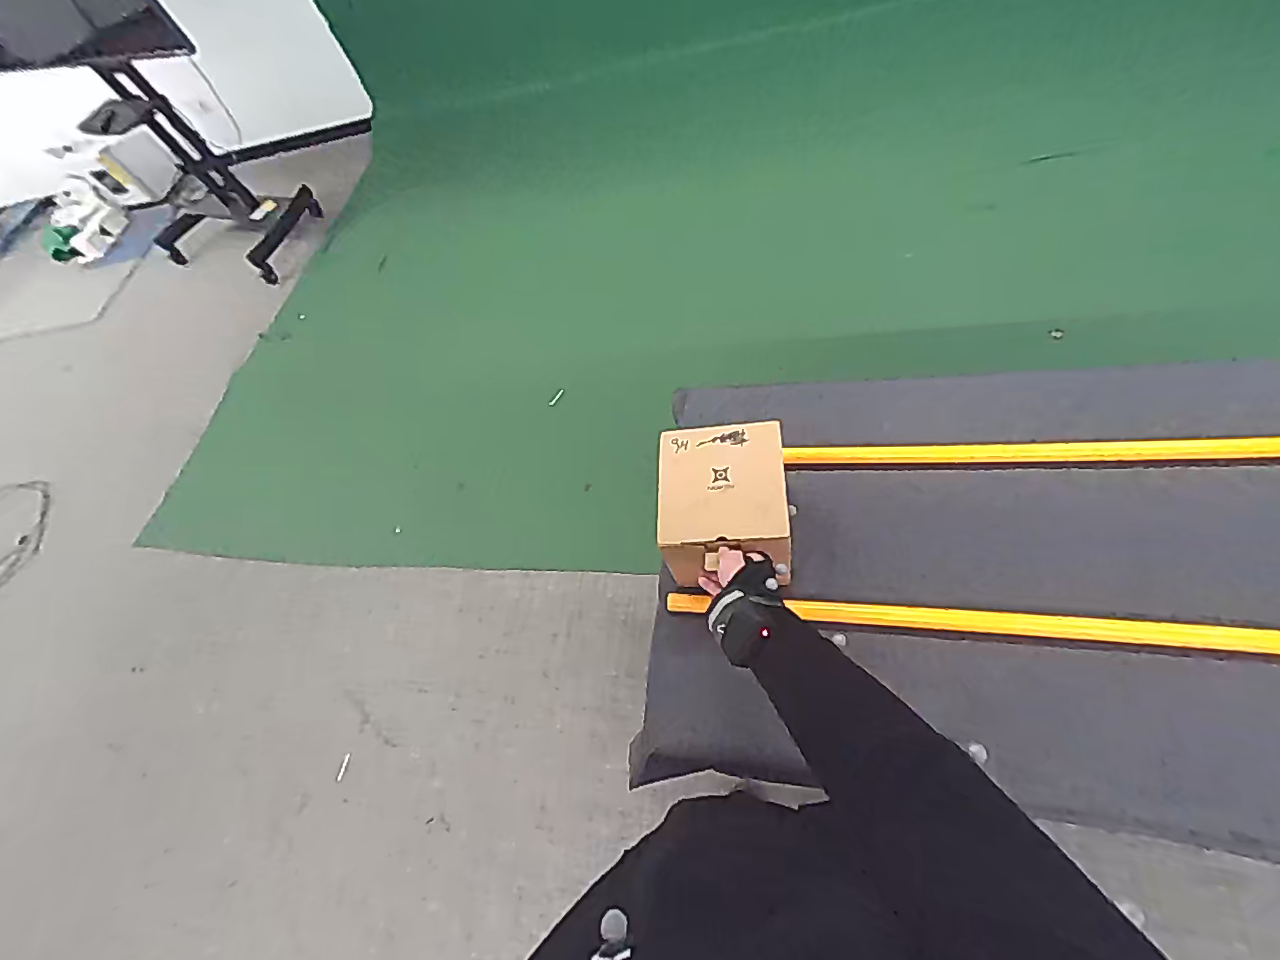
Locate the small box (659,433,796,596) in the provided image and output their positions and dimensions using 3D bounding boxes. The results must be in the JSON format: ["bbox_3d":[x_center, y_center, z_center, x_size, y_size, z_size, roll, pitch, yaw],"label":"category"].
[{"bbox_3d":[0.128,0.059,0.777,0.168,0.176,0.179,-8,58,13],"label":"small box"}]
